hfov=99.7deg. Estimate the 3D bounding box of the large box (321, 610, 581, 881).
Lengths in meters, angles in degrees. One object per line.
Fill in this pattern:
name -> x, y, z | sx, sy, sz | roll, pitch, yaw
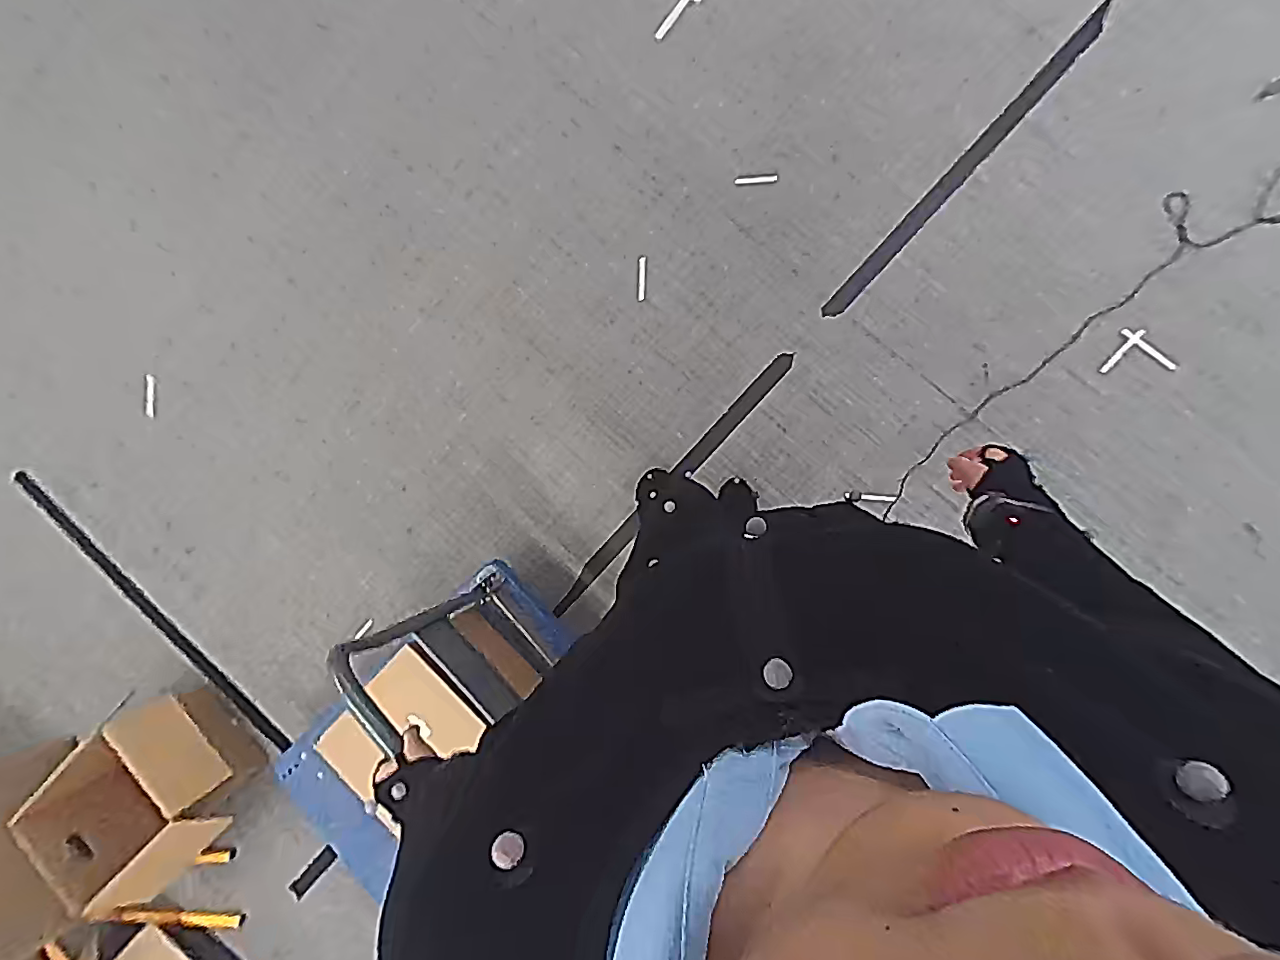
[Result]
large box -> -0.407, 0.577, 1.250 | 0.408, 0.320, 0.320 | 44, 95, 5
